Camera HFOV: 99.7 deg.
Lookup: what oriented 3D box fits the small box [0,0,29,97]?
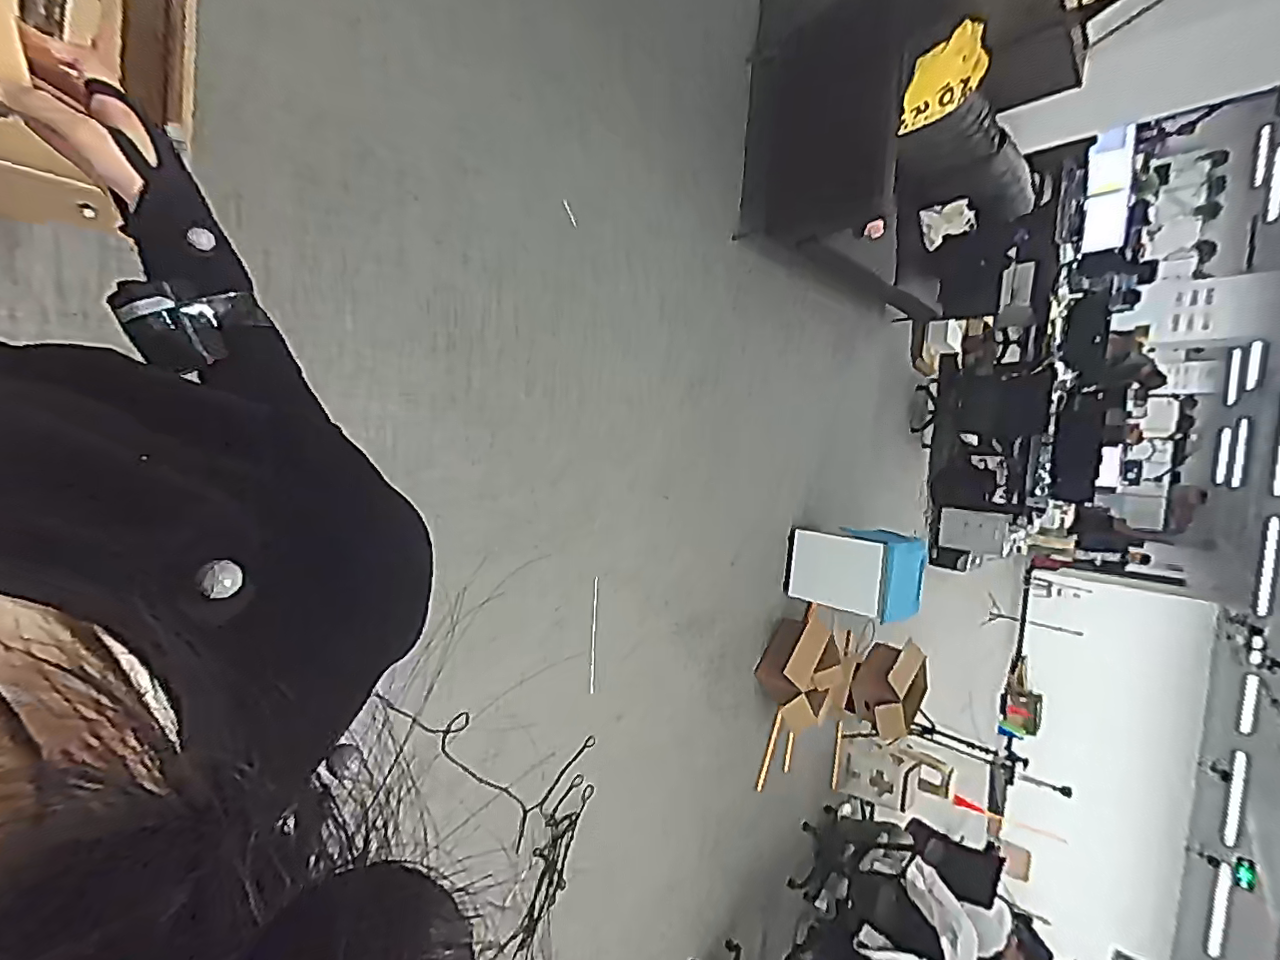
[{"bbox_3d":[-0.489,-0.338,0.296,0.168,0.176,0.179,-18,126,-48],"label":"small box"}]
